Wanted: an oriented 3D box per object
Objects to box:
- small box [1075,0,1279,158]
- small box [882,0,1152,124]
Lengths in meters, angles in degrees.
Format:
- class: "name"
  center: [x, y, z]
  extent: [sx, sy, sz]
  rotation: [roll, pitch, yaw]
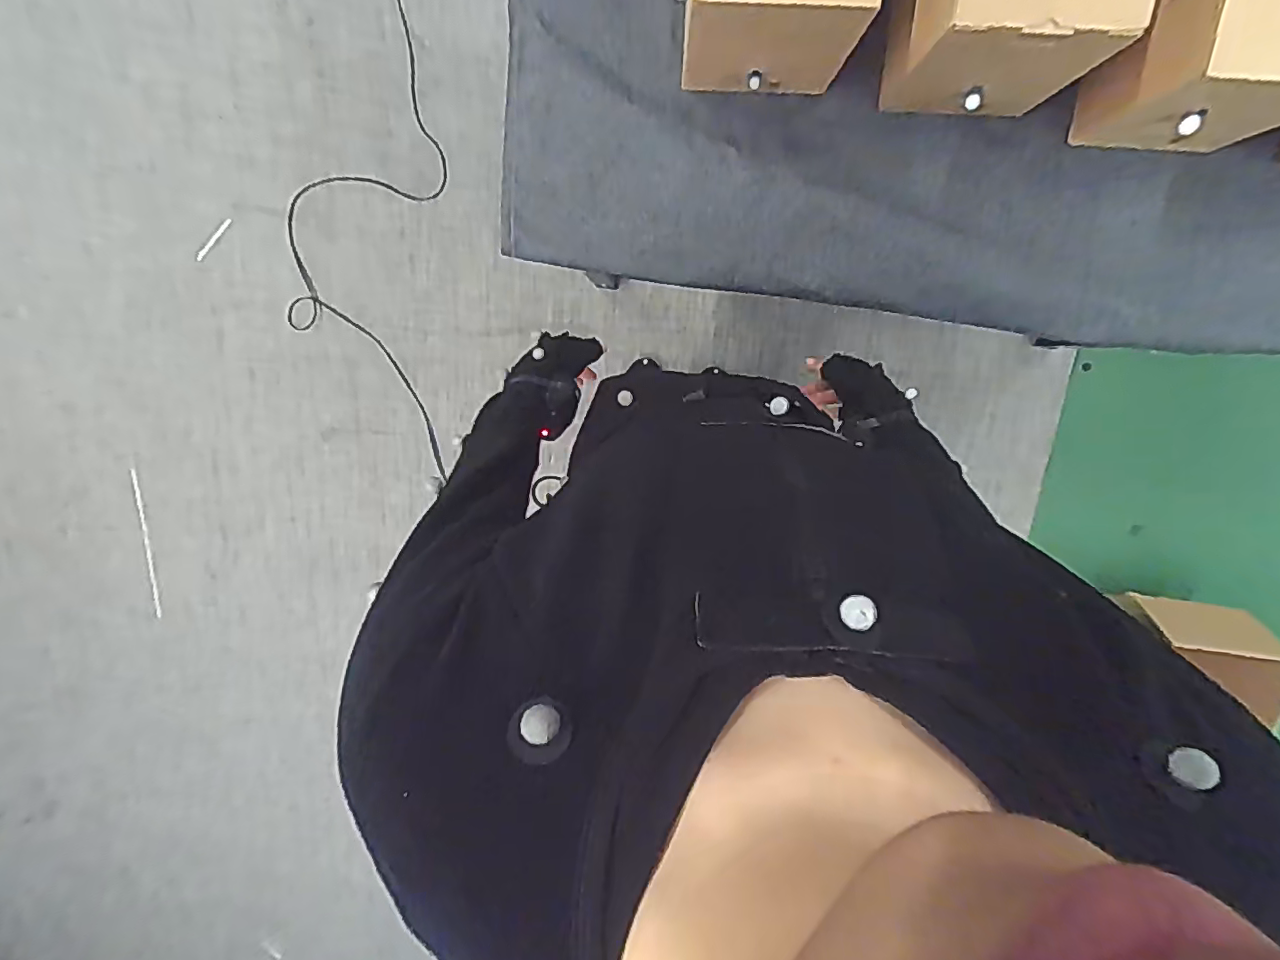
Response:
- class: "small box"
  center: [0.576, -0.437, 0.525]
  extent: [0.168, 0.176, 0.179]
  rotation: [4, 102, 2]
- class: "small box"
  center: [0.355, -0.480, 0.522]
  extent: [0.168, 0.176, 0.179]
  rotation: [4, 103, 2]
